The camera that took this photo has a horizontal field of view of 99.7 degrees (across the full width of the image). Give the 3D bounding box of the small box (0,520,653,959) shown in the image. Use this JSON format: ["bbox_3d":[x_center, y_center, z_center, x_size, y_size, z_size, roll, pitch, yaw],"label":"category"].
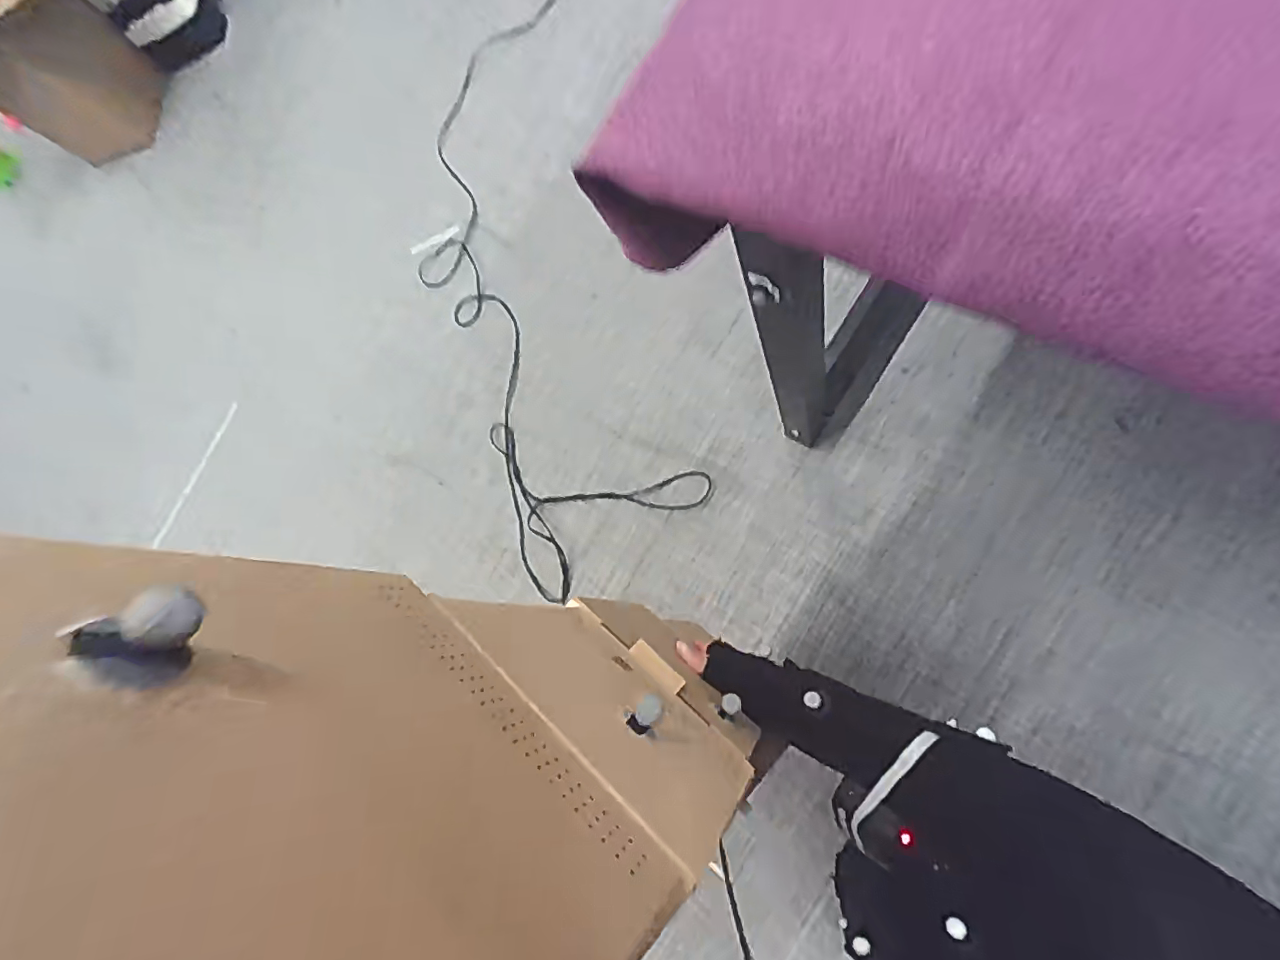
[{"bbox_3d":[-0.126,0.136,0.150,0.179,0.176,0.168,38,91,23],"label":"small box"}]

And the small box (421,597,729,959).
[{"bbox_3d":[-0.068,0.184,0.297,0.168,0.176,0.179,37,90,23],"label":"small box"}]
